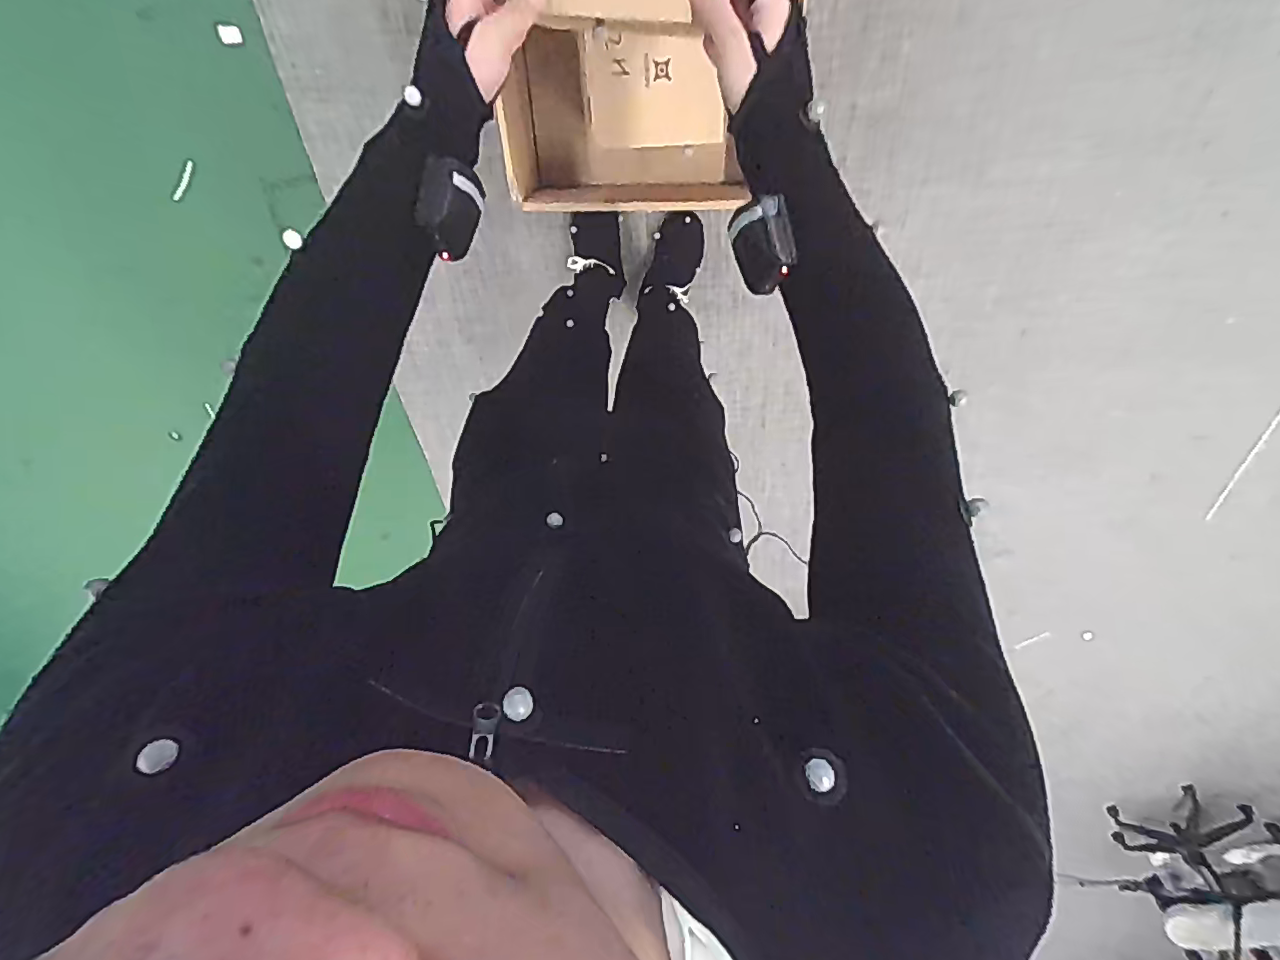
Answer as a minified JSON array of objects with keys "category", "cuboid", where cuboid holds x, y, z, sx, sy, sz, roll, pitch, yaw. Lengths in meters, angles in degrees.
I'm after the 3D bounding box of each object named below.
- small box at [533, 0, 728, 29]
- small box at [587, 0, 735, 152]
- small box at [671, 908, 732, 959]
[{"category":"small box","cuboid":[-0.006,-0.495,0.455,0.179,0.176,0.168,5,127,0]},{"category":"small box","cuboid":[0.029,-0.551,0.731,0.179,0.176,0.168,0,126,4]},{"category":"small box","cuboid":[0.184,1.399,1.609,0.179,0.176,0.168,-4,127,7]}]
